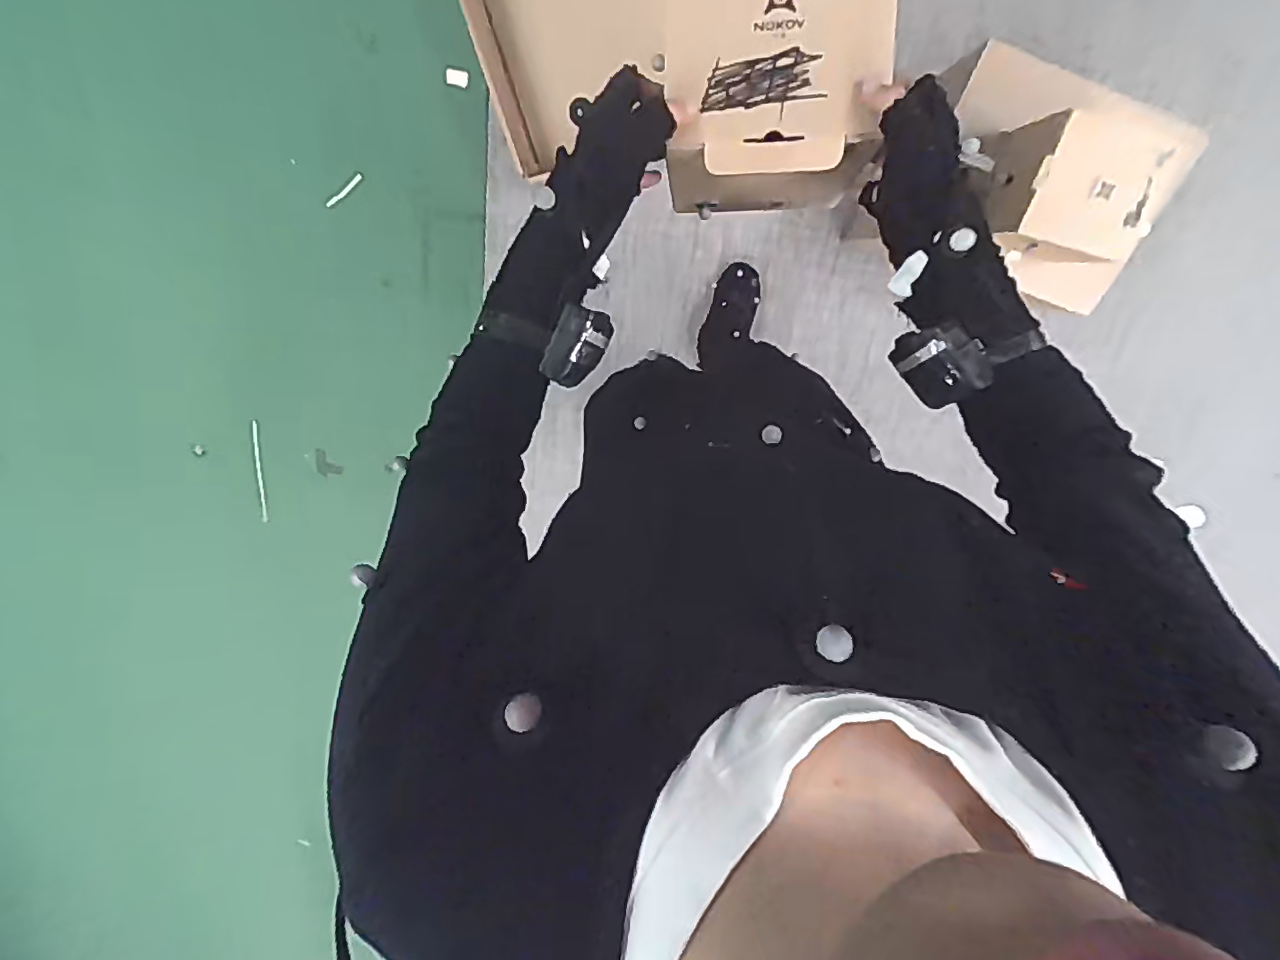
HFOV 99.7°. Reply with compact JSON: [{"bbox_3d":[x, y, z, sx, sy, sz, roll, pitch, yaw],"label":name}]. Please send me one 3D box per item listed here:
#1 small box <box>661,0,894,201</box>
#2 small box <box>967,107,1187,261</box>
[{"bbox_3d":[0.107,-0.354,0.465,0.168,0.176,0.179,1,100,6],"label":"small box"},{"bbox_3d":[0.660,-0.450,0.849,0.179,0.176,0.168,15,113,-1],"label":"small box"}]
